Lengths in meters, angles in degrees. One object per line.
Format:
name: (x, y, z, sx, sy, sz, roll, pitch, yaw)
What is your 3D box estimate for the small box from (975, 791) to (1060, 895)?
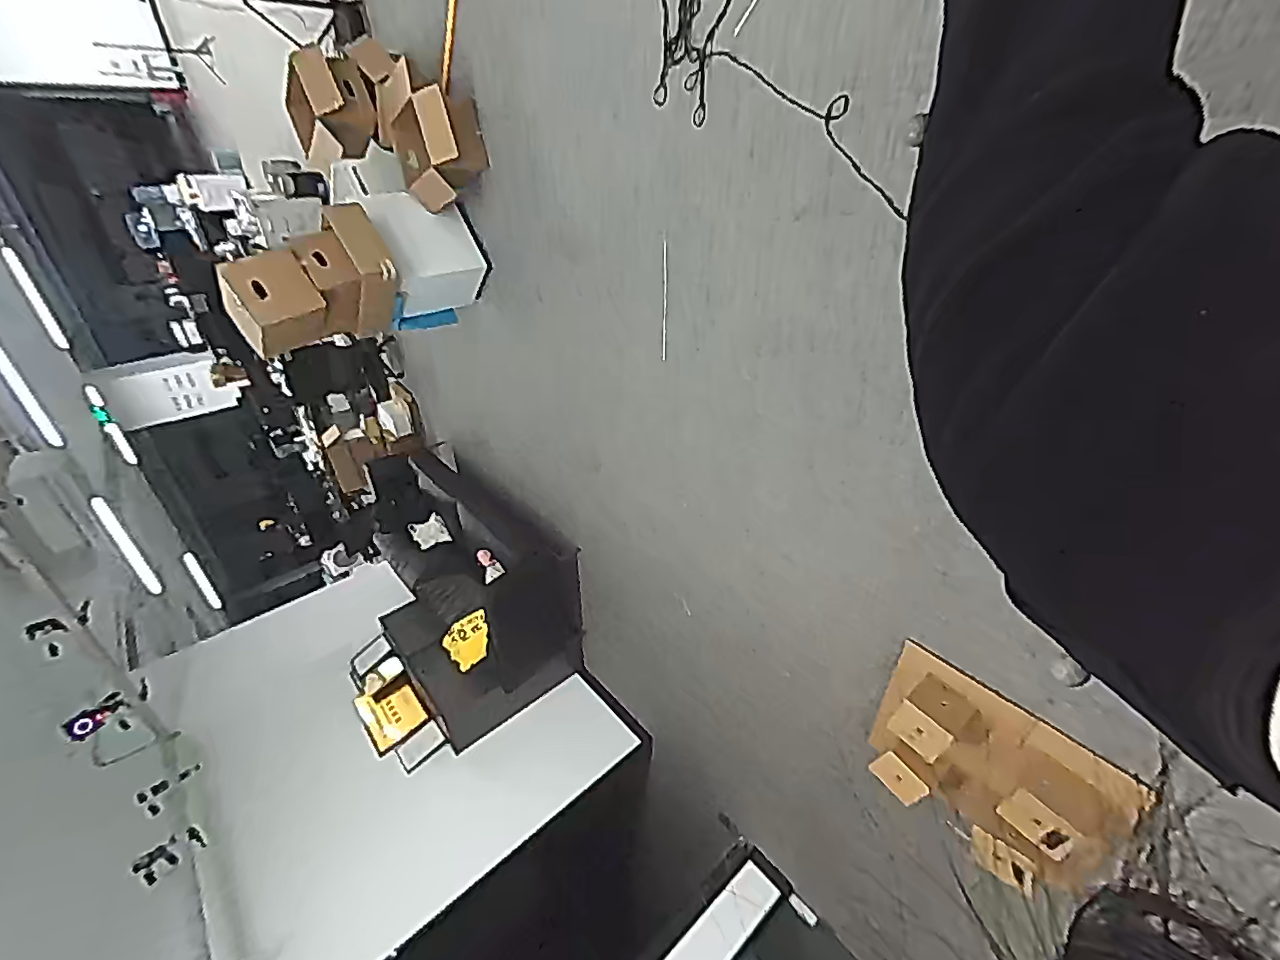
small box: (1.193, 1.138, 1.709, 0.179, 0.176, 0.168, 18, 125, 50)

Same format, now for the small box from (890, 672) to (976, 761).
small box: (0.966, 0.769, 1.774, 0.168, 0.176, 0.179, 39, 140, 35)

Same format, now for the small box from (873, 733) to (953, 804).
small box: (0.974, 1.003, 1.922, 0.168, 0.176, 0.179, 43, 142, 29)
